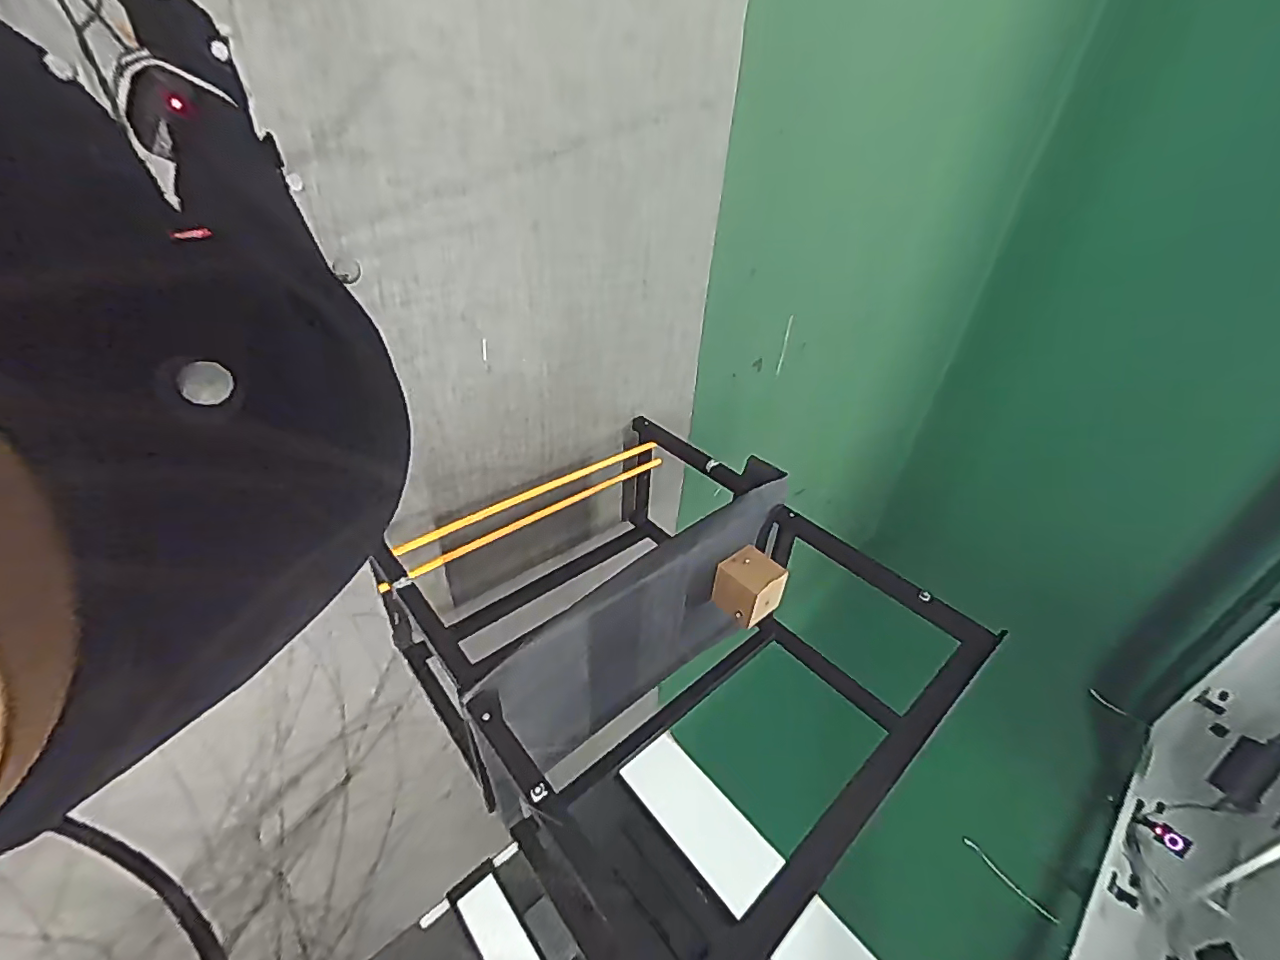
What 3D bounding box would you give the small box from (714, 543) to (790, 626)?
[{"bbox_3d":[0.367,0.345,1.807,0.168,0.176,0.179,-26,136,-34],"label":"small box"}]
